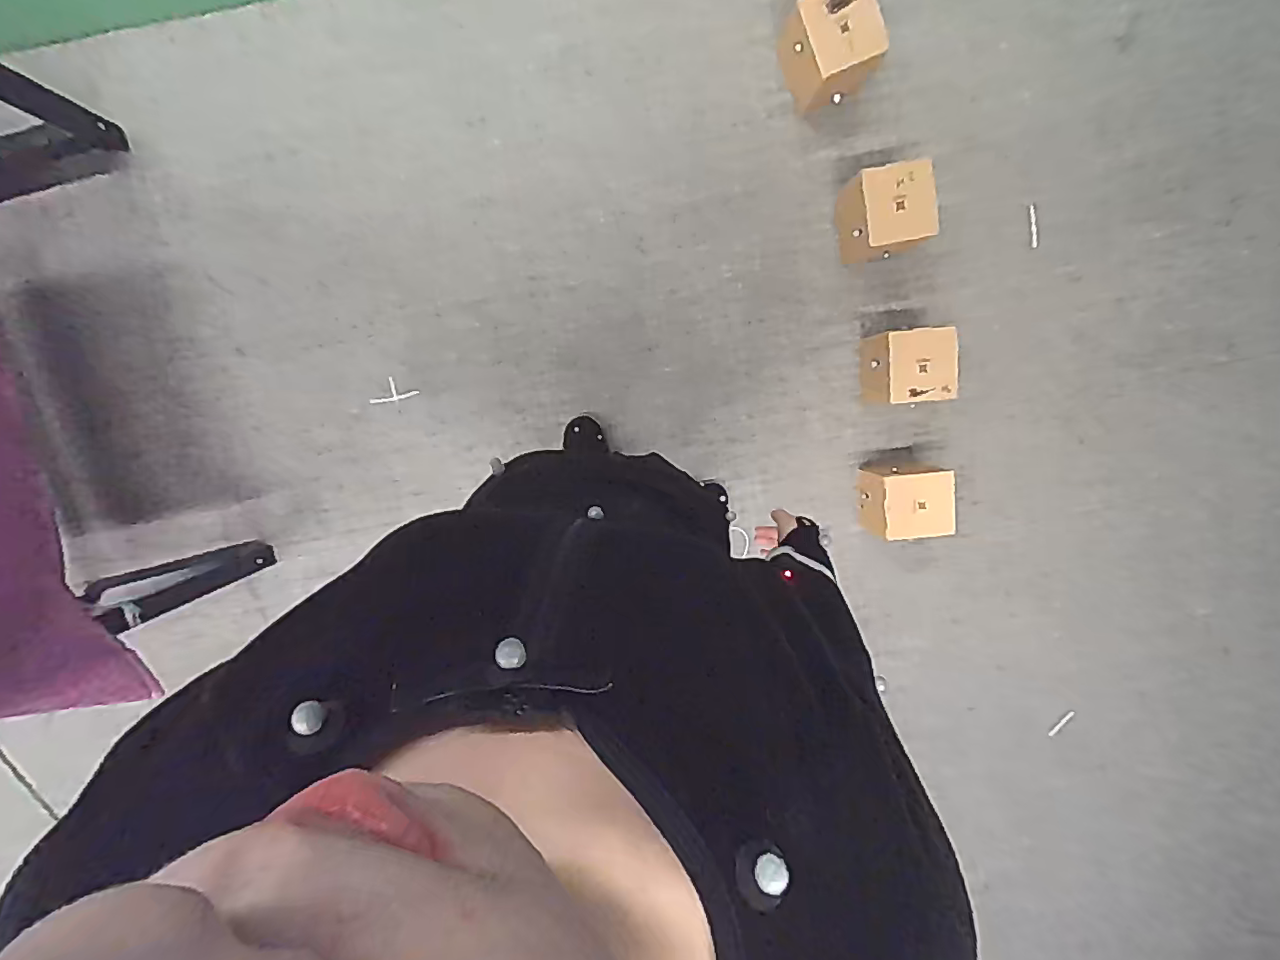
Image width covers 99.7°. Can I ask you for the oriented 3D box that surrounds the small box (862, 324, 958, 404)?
[{"bbox_3d":[0.678,-0.289,1.374,0.168,0.176,0.179,-5,97,1],"label":"small box"}]

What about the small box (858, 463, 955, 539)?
[{"bbox_3d":[0.695,0.049,1.423,0.179,0.176,0.168,-5,98,1],"label":"small box"}]

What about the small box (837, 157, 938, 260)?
[{"bbox_3d":[0.600,-0.652,1.324,0.168,0.176,0.179,-10,98,0],"label":"small box"}]

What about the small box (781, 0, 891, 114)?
[{"bbox_3d":[0.452,-1.018,1.272,0.168,0.176,0.179,-22,98,3],"label":"small box"}]
